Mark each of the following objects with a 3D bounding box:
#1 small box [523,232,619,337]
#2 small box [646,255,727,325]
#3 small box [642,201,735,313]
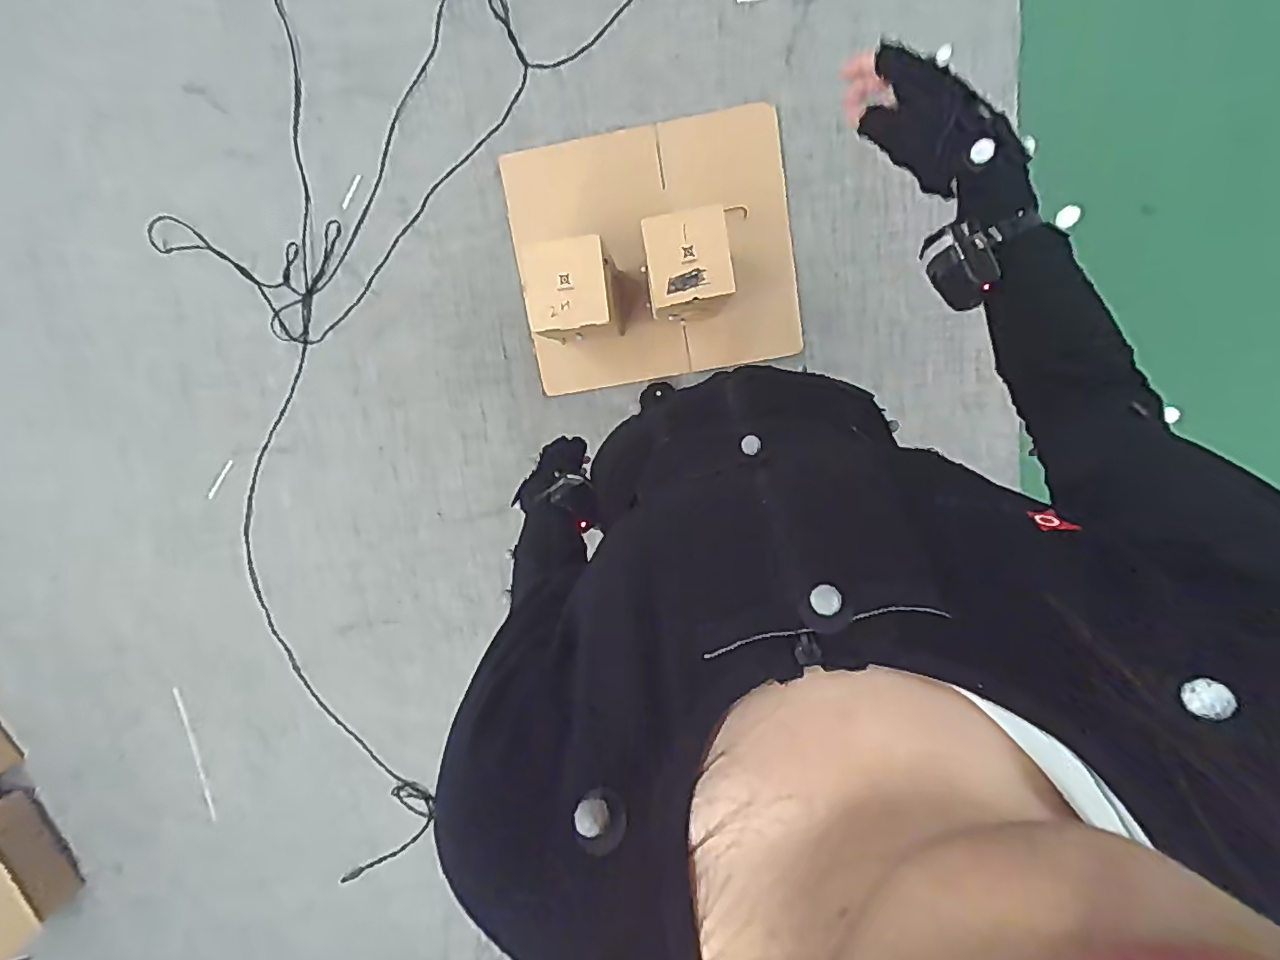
[{"bbox_3d":[-0.142,-0.411,1.162,0.168,0.176,0.179,-6,100,5],"label":"small box"},{"bbox_3d":[0.107,-0.485,1.307,0.168,0.176,0.179,-10,100,4],"label":"small box"},{"bbox_3d":[0.102,-0.459,1.144,0.168,0.176,0.179,-10,99,4],"label":"small box"}]
